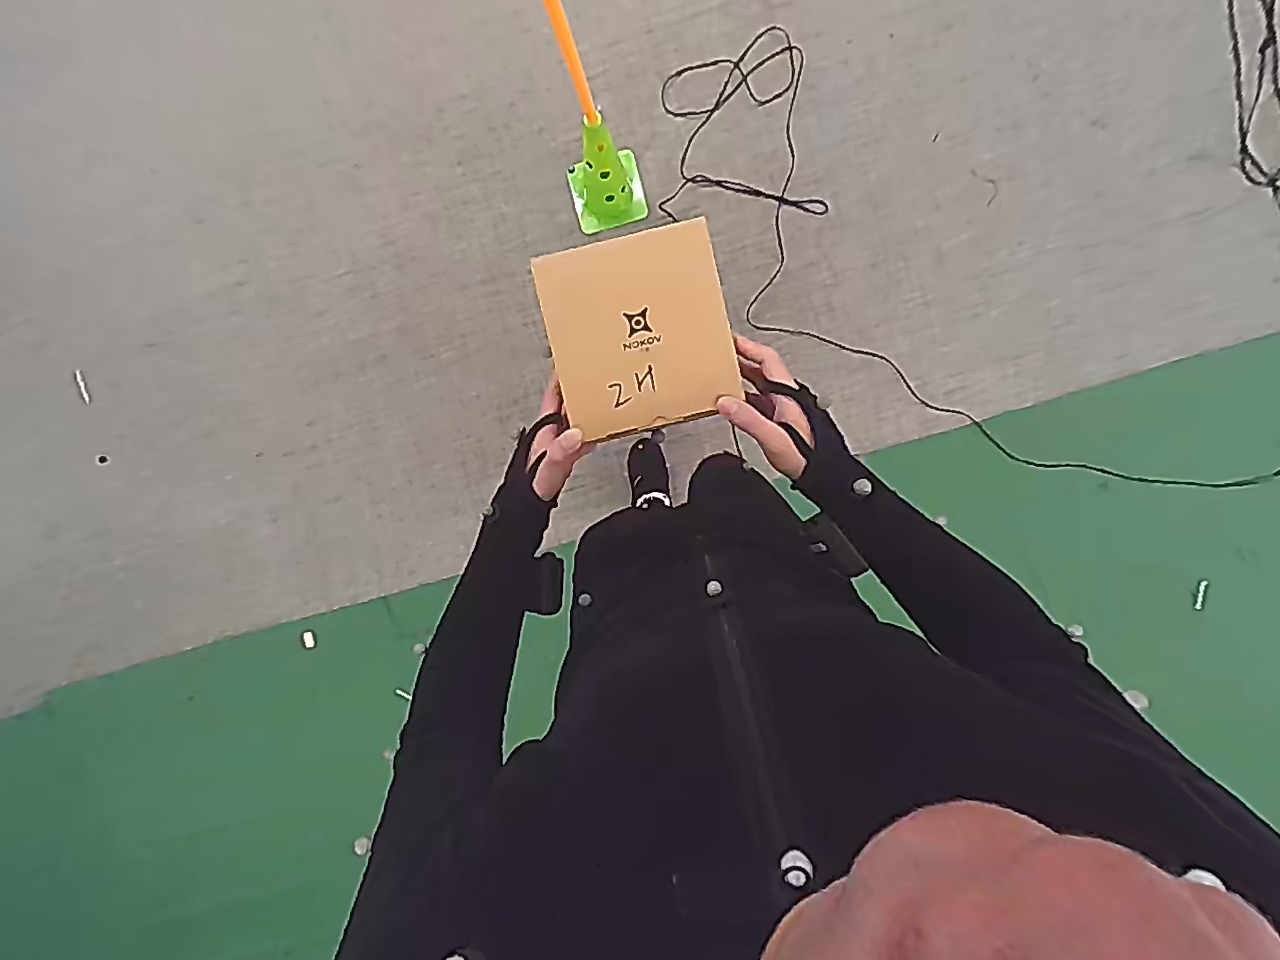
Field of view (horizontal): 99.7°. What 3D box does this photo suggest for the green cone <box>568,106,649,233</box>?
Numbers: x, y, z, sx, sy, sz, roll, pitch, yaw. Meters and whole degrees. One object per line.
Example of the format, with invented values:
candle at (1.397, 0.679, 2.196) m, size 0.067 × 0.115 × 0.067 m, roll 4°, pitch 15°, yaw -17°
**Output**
green cone at (-0.092, -0.805, 1.361) m, size 0.202 × 0.368 × 0.200 m, roll -16°, pitch 93°, yaw 2°
